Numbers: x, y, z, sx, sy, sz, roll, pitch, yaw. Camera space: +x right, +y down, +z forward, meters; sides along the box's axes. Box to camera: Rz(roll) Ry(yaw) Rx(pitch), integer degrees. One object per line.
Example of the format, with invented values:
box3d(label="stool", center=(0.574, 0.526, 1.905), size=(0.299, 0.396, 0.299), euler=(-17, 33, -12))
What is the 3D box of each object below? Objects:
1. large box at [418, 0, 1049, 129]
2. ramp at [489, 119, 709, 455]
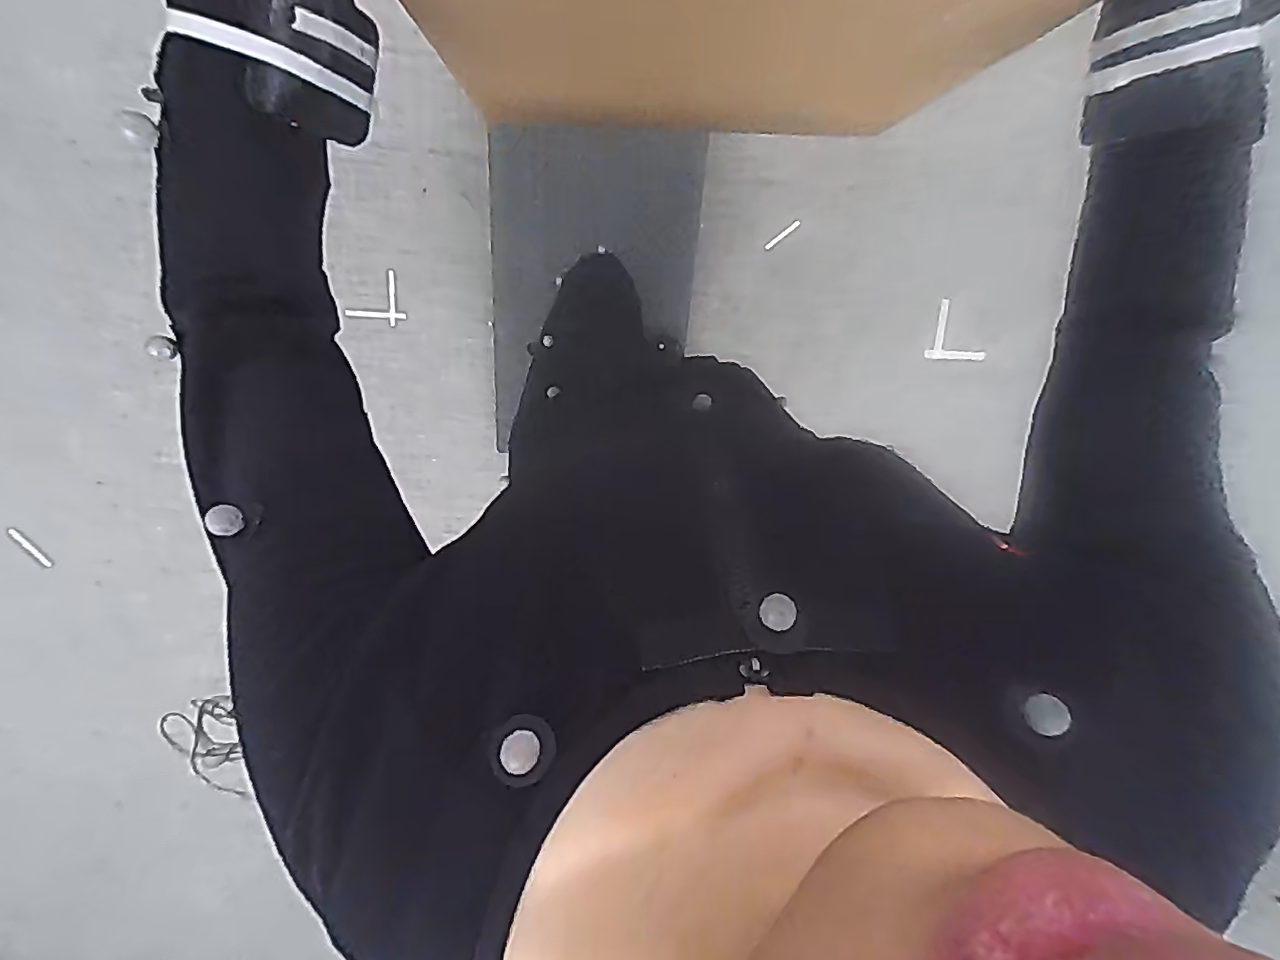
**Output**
box3d(label="large box", center=(0.052, -0.461, 0.368), size=(0.408, 0.320, 0.320), euler=(-1, 109, -4))
box3d(label="ramp", center=(-0.107, -0.533, 1.315), size=(0.509, 0.206, 0.991), euler=(1, 105, -4))
